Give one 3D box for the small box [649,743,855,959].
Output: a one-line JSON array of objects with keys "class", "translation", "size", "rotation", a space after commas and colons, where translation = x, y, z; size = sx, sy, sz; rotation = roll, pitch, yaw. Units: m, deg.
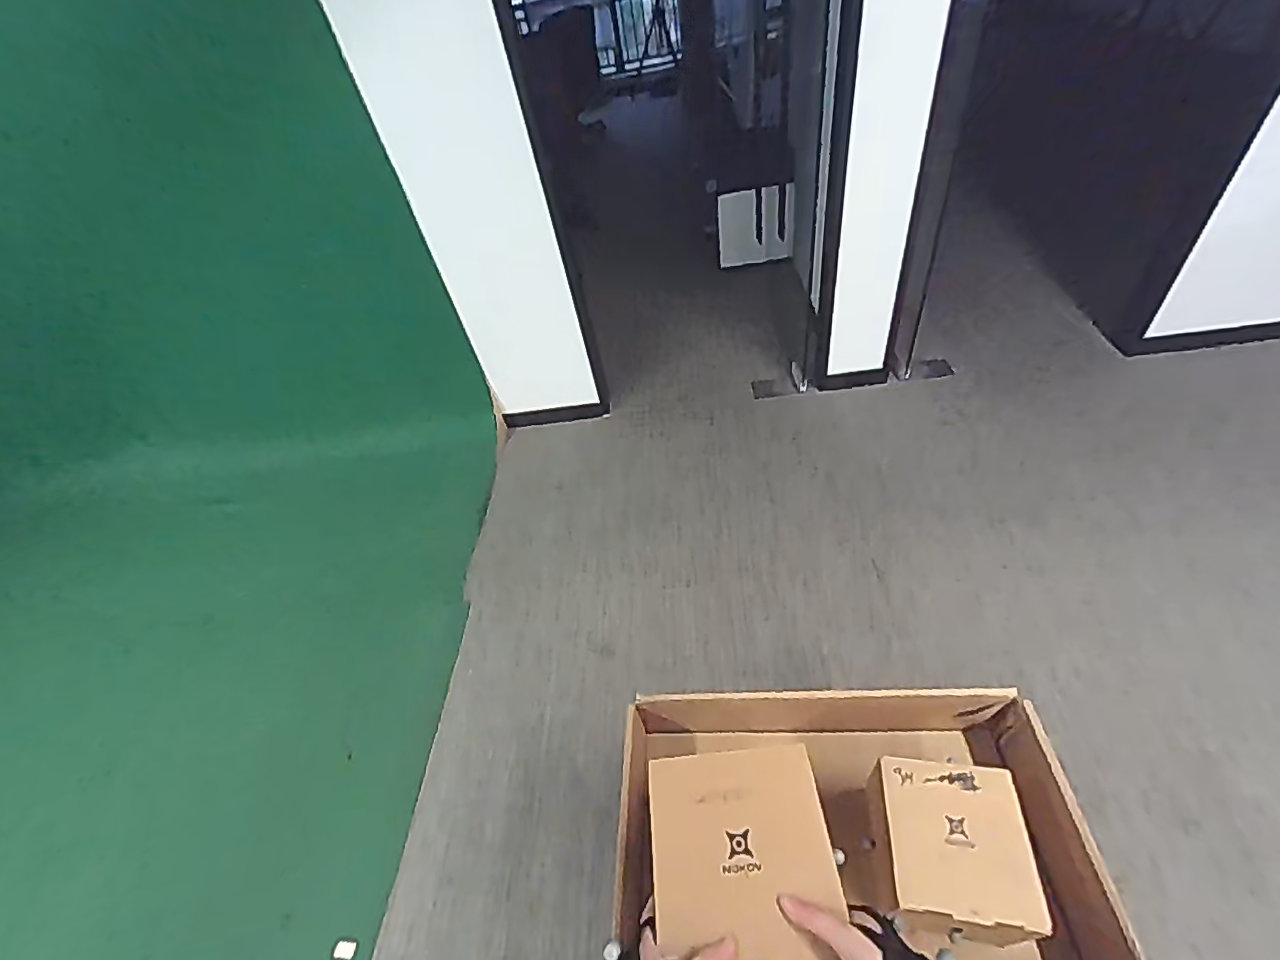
[{"class": "small box", "translation": [0.107, 0.396, 0.550], "size": [0.168, 0.176, 0.179], "rotation": [-9, 42, 6]}]
